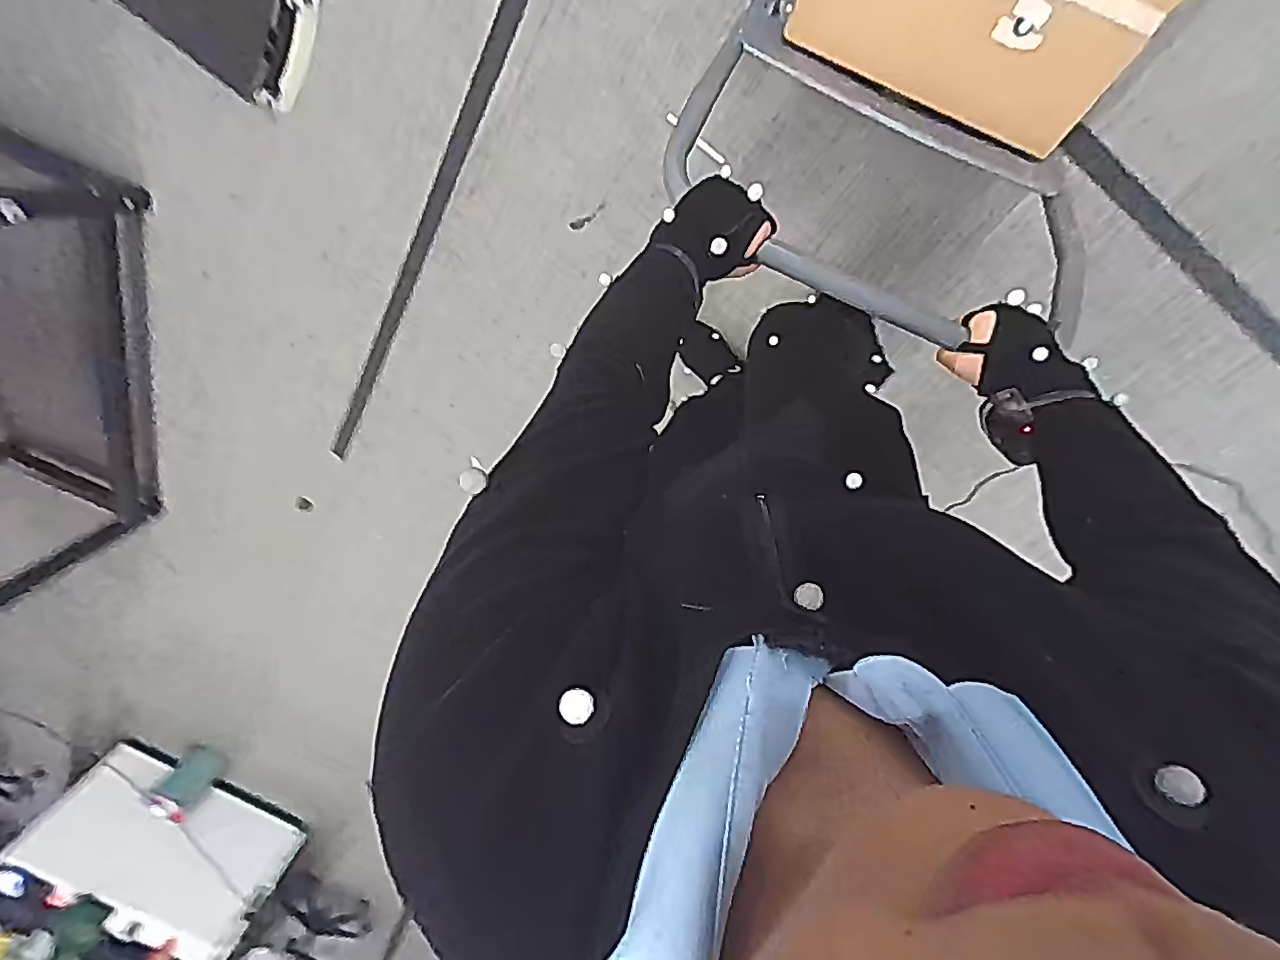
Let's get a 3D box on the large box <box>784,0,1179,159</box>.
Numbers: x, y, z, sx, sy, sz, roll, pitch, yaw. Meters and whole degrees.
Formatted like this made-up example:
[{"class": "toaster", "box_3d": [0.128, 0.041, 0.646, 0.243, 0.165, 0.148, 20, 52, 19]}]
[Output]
[{"class": "large box", "box_3d": [0.452, -0.707, 0.706, 0.408, 0.320, 0.320, 22, 143, -3]}]
